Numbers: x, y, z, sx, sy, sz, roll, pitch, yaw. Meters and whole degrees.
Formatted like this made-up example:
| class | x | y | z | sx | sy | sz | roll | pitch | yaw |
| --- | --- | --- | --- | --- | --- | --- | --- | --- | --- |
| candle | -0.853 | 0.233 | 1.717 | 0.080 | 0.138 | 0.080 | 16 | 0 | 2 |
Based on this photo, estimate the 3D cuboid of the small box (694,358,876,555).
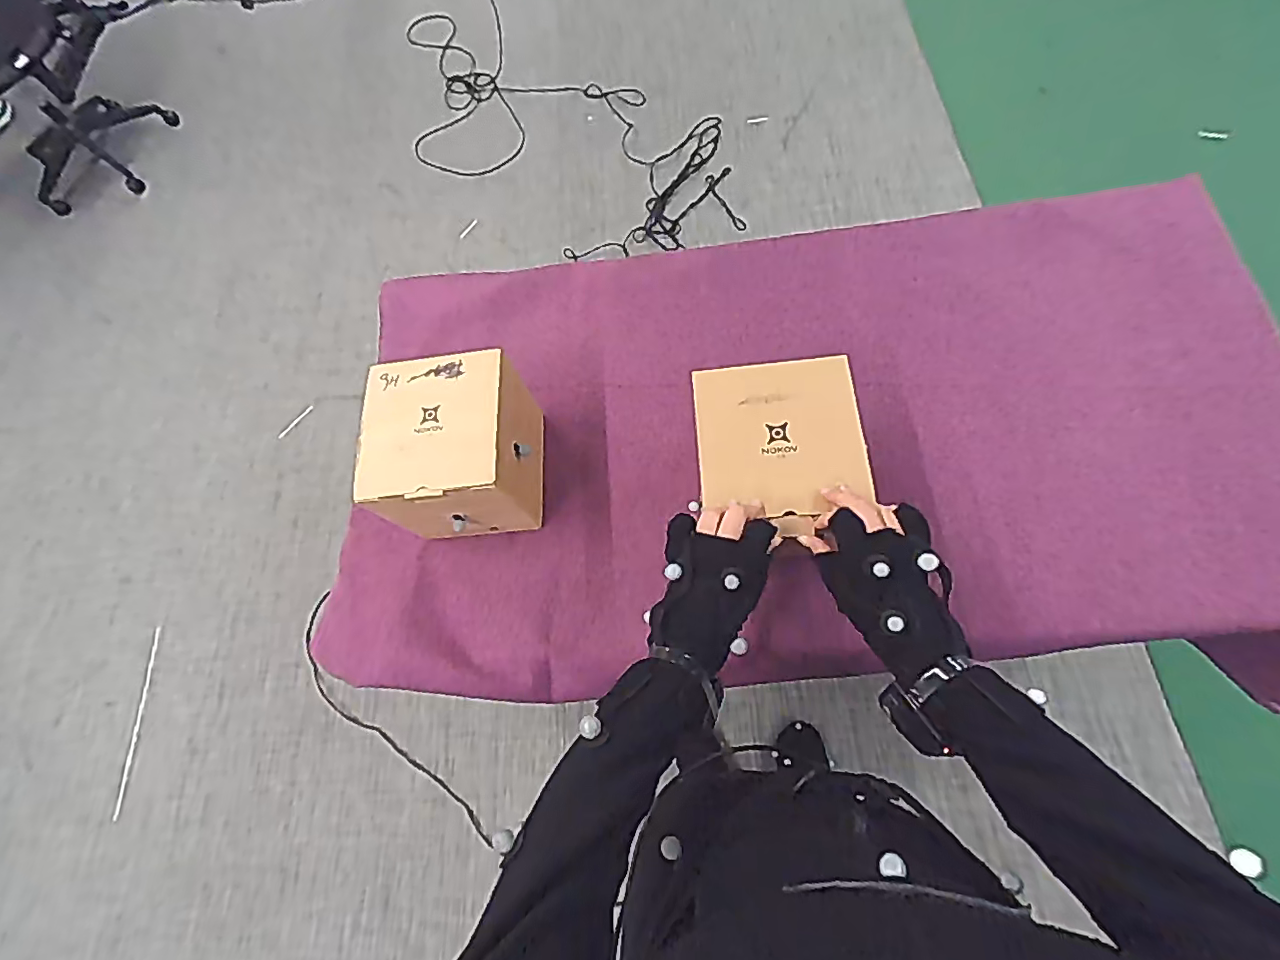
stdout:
| class | x | y | z | sx | sy | sz | roll | pitch | yaw |
| --- | --- | --- | --- | --- | --- | --- | --- | --- | --- |
| small box | 0.153 | -0.014 | 0.622 | 0.168 | 0.176 | 0.179 | -5 | 68 | 7 |

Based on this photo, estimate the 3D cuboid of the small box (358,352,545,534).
| class | x | y | z | sx | sy | sz | roll | pitch | yaw |
| --- | --- | --- | --- | --- | --- | --- | --- | --- | --- |
| small box | -0.223 | -0.034 | 0.686 | 0.168 | 0.176 | 0.179 | -6 | 69 | 6 |
